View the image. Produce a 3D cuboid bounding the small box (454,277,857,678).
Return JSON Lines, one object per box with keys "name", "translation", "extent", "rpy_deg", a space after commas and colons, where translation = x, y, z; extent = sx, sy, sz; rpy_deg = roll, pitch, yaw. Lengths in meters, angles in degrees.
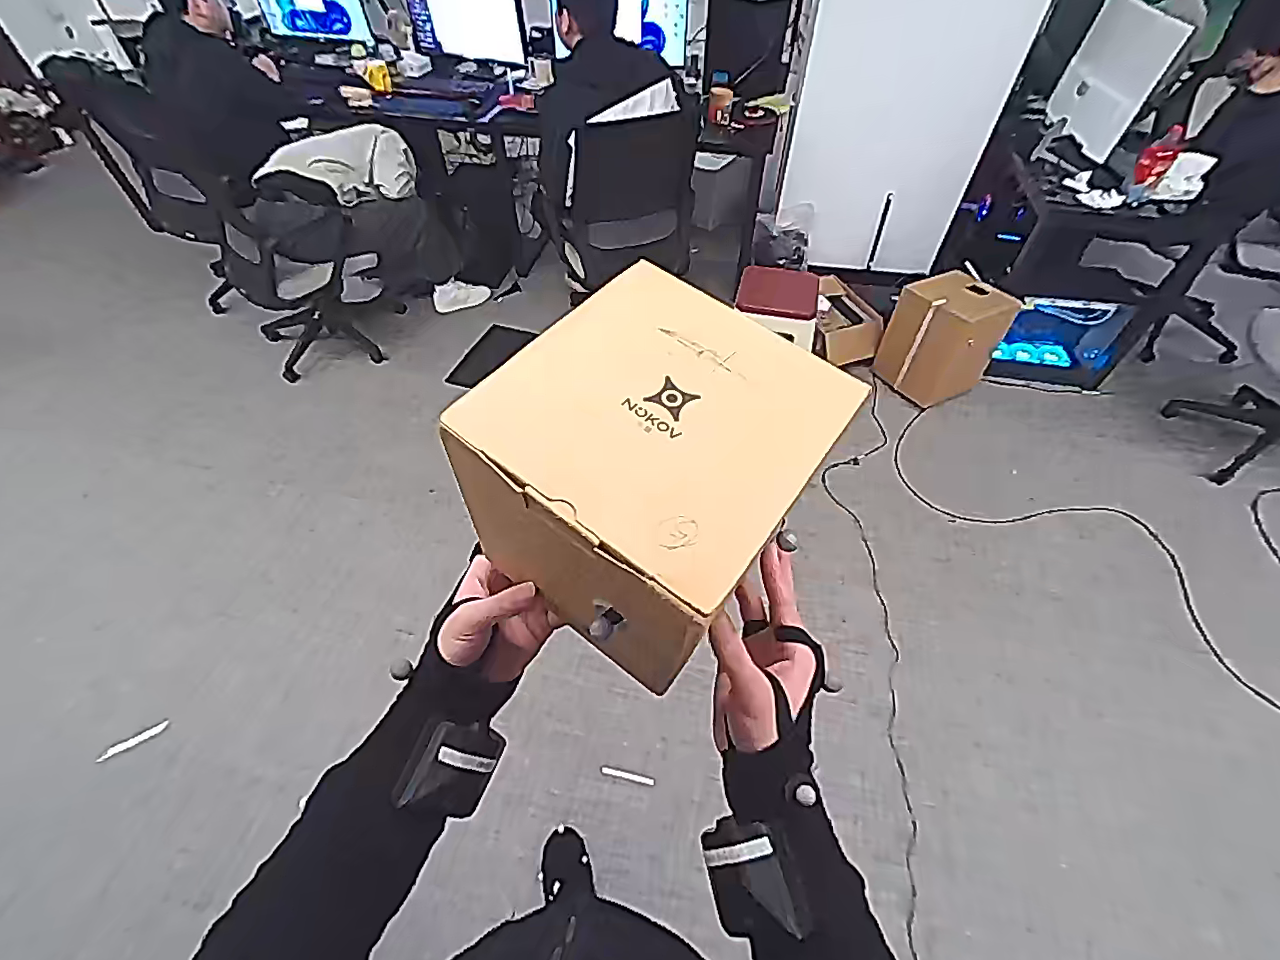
{"name": "small box", "translation": [0.008, 0.006, 0.369], "extent": [0.168, 0.176, 0.179], "rpy_deg": [34, 60, 13]}
